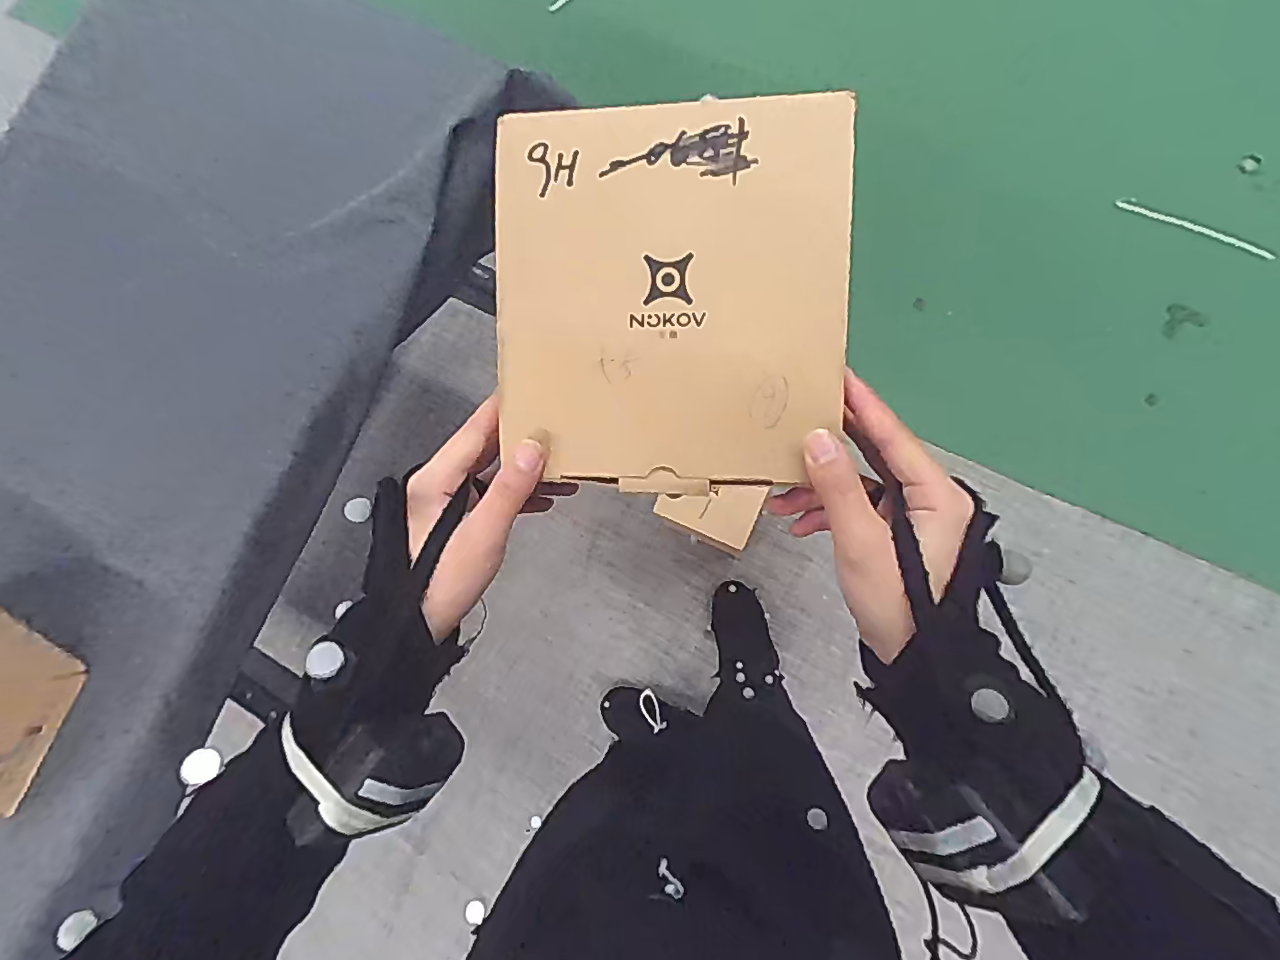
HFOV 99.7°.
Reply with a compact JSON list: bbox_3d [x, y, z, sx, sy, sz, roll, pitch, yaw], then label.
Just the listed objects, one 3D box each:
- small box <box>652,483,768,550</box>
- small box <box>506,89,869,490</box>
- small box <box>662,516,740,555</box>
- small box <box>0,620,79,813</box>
[{"bbox_3d":[0.137,0.015,0.974,0.168,0.176,0.179,23,87,12],"label":"small box"},{"bbox_3d":[0.027,-0.093,0.330,0.168,0.176,0.179,1,96,7],"label":"small box"},{"bbox_3d":[0.161,0.045,1.134,0.168,0.176,0.179,23,86,12],"label":"small box"},{"bbox_3d":[-0.699,0.228,0.494,0.179,0.176,0.168,24,86,11],"label":"small box"}]
